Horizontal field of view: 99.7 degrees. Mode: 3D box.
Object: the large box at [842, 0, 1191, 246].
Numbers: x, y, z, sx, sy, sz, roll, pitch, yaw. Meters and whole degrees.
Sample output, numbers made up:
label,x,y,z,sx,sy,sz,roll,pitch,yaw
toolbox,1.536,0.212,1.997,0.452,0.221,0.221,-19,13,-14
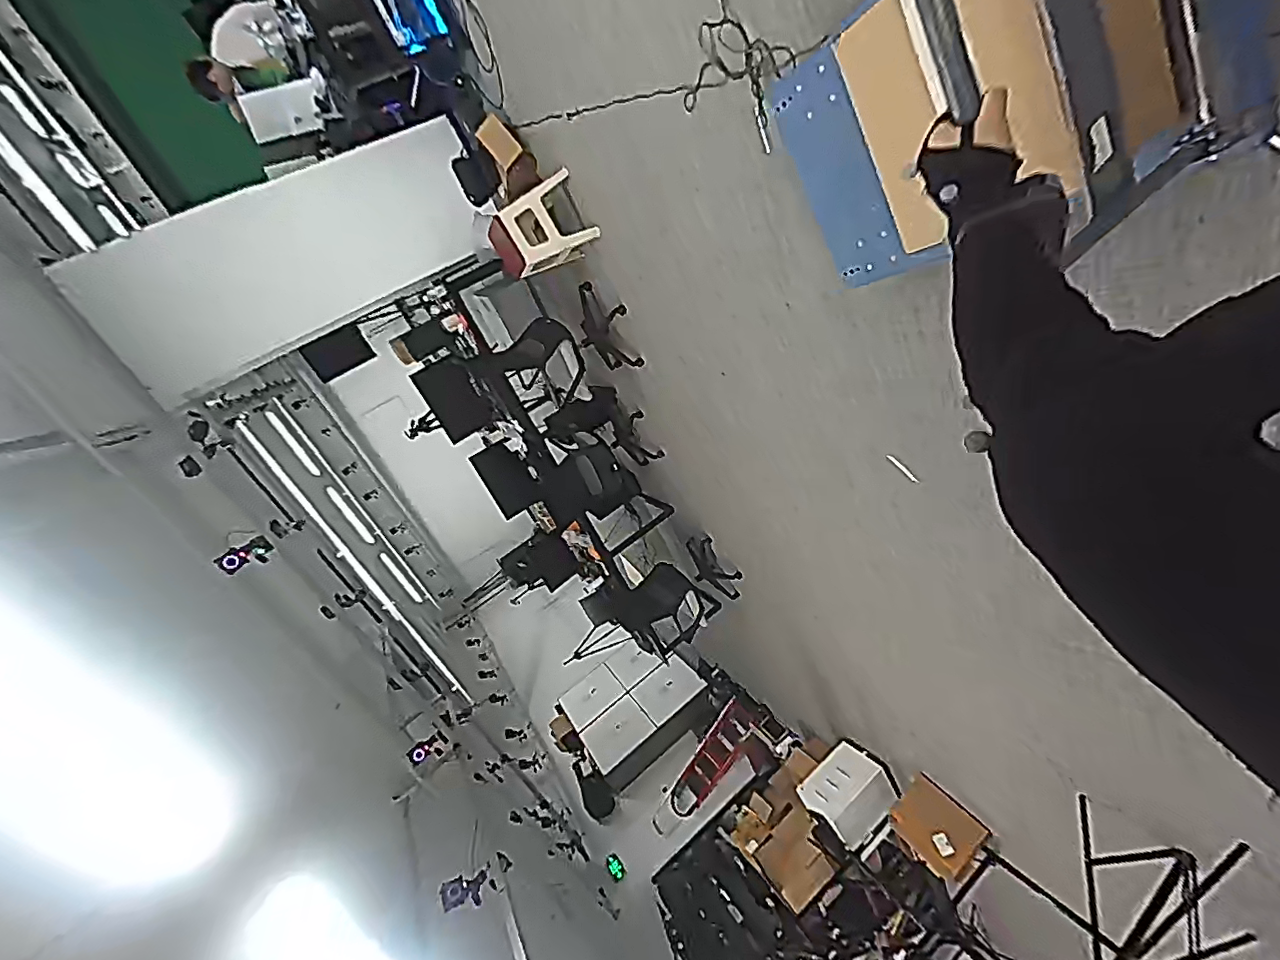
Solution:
label,x,y,z,sx,sy,sz,roll,pitch,yaw
large box,0.632,-0.695,0.925,0.408,0.320,0.320,61,161,-15
